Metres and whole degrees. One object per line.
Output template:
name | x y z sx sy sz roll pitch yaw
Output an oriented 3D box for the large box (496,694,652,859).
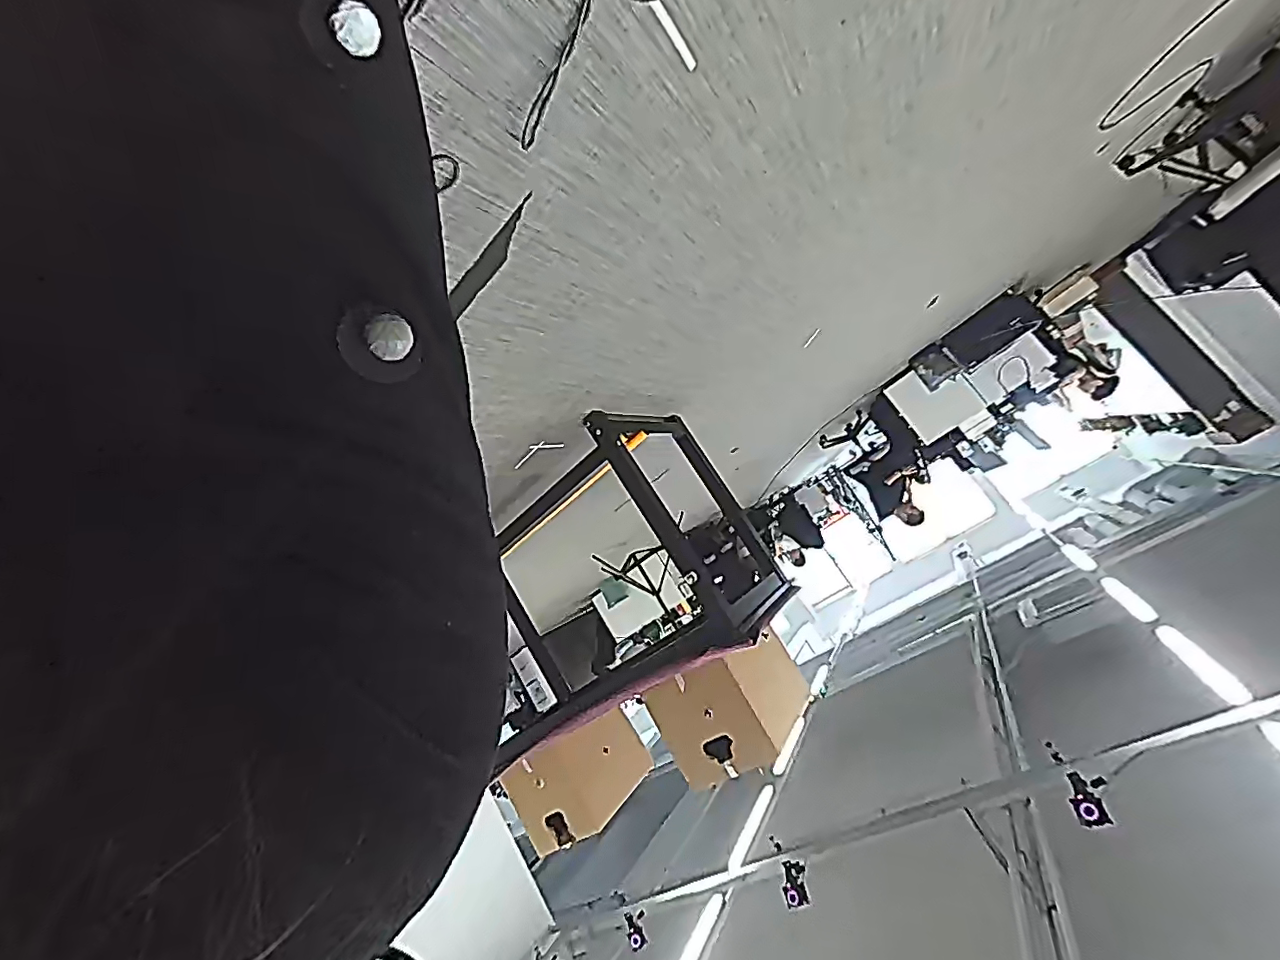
large box | -0.231 1.048 1.950 0.320 0.320 0.408 -38 168 25
